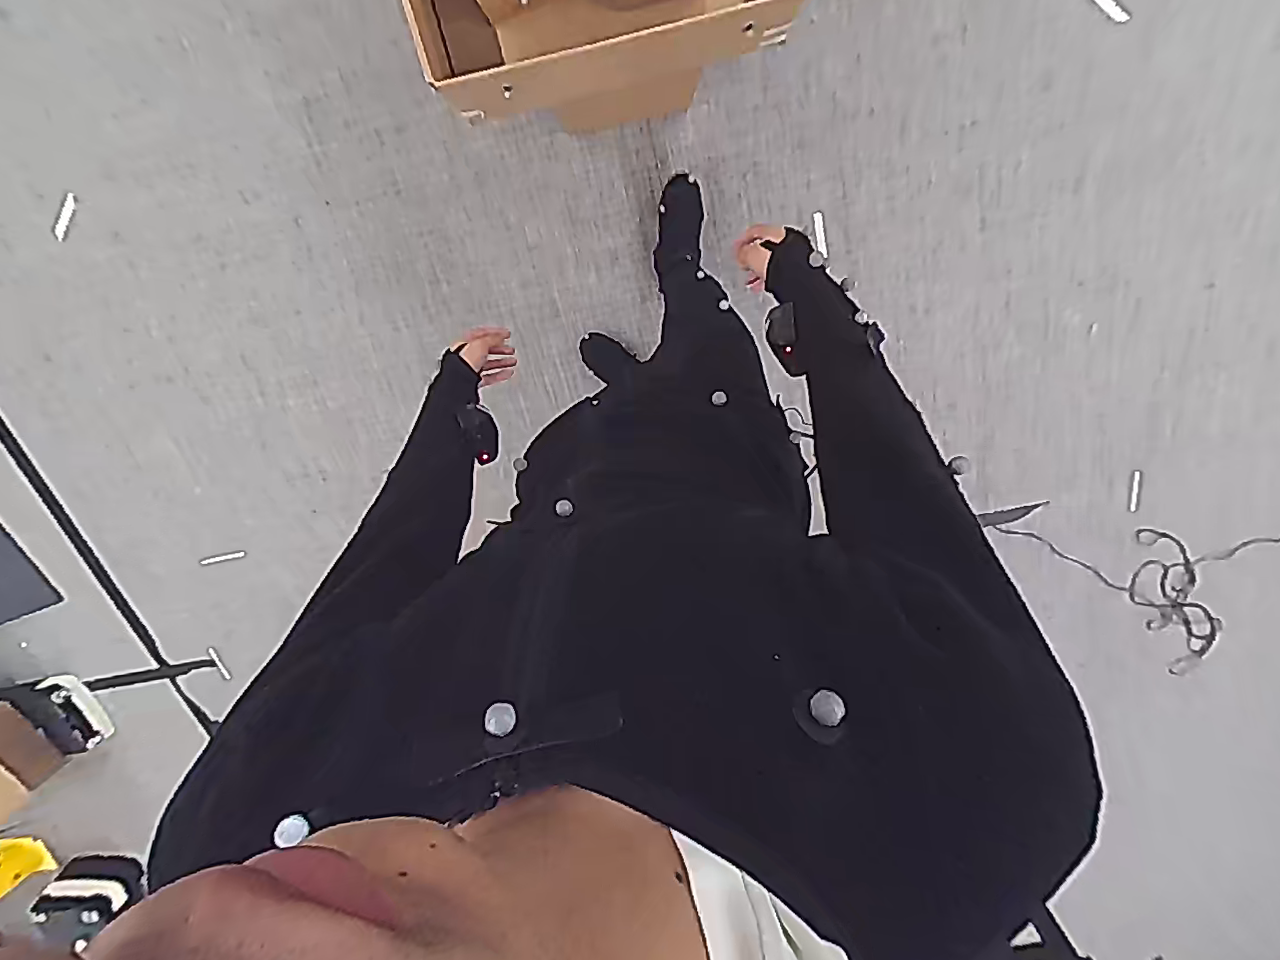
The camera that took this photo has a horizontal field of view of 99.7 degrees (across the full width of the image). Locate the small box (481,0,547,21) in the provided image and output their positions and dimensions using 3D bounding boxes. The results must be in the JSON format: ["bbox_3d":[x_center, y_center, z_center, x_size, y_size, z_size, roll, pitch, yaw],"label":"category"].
[{"bbox_3d":[-0.205,-0.849,0.808,0.168,0.176,0.179,-19,111,7],"label":"small box"}]
